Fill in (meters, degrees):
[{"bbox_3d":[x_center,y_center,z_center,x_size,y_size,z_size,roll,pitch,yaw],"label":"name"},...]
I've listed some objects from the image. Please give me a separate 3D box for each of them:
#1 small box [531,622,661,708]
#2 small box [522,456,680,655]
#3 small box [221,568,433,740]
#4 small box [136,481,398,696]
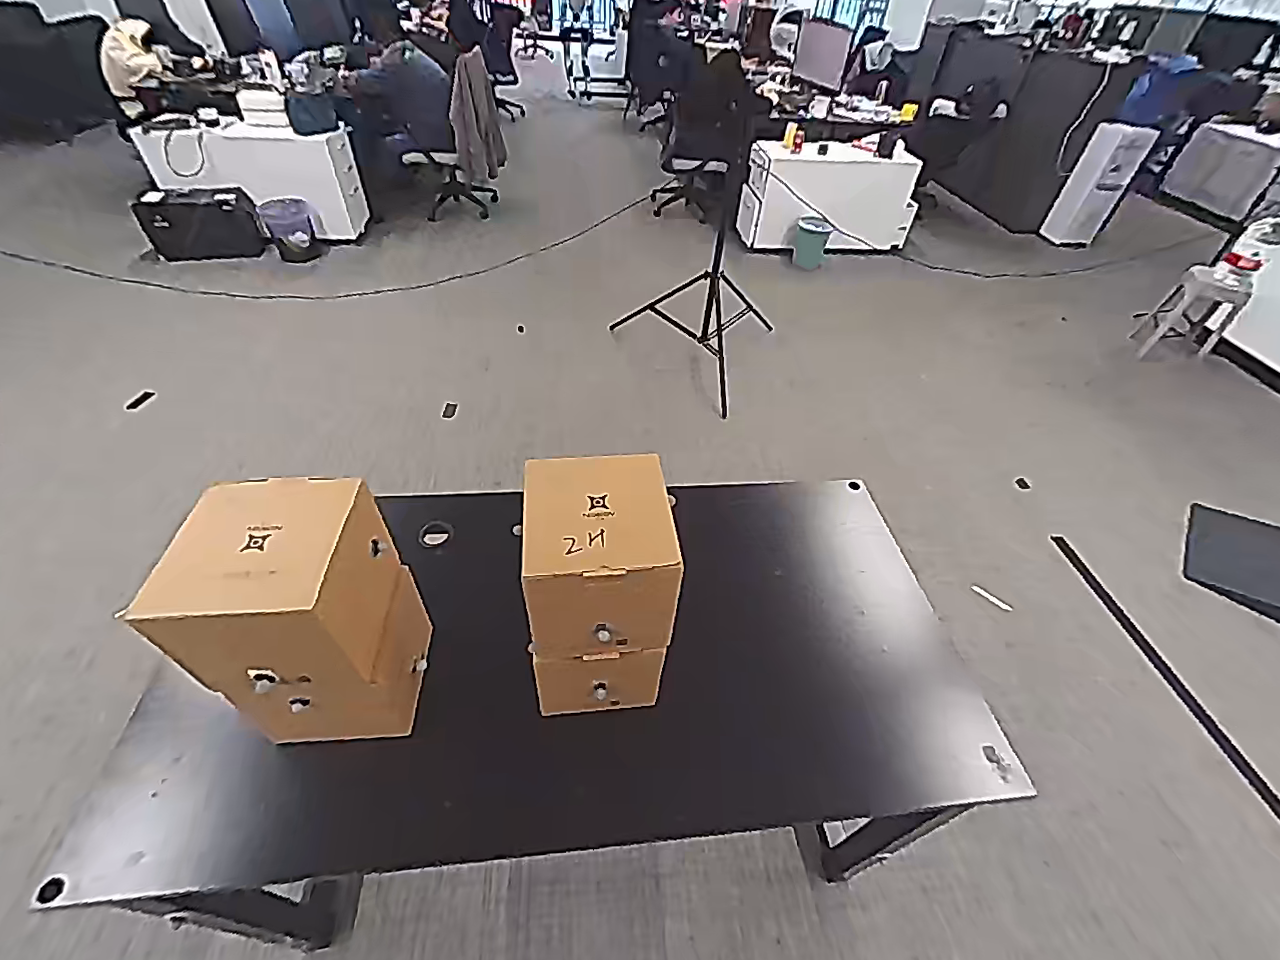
[{"bbox_3d":[-0.065,0.214,0.781,0.168,0.176,0.179,-3,45,-7],"label":"small box"},{"bbox_3d":[-0.053,0.091,0.669,0.168,0.176,0.179,-4,45,-7],"label":"small box"},{"bbox_3d":[-0.398,0.236,0.728,0.179,0.176,0.168,0,45,-6],"label":"small box"},{"bbox_3d":[-0.391,0.121,0.613,0.168,0.176,0.179,-3,46,-6],"label":"small box"}]
